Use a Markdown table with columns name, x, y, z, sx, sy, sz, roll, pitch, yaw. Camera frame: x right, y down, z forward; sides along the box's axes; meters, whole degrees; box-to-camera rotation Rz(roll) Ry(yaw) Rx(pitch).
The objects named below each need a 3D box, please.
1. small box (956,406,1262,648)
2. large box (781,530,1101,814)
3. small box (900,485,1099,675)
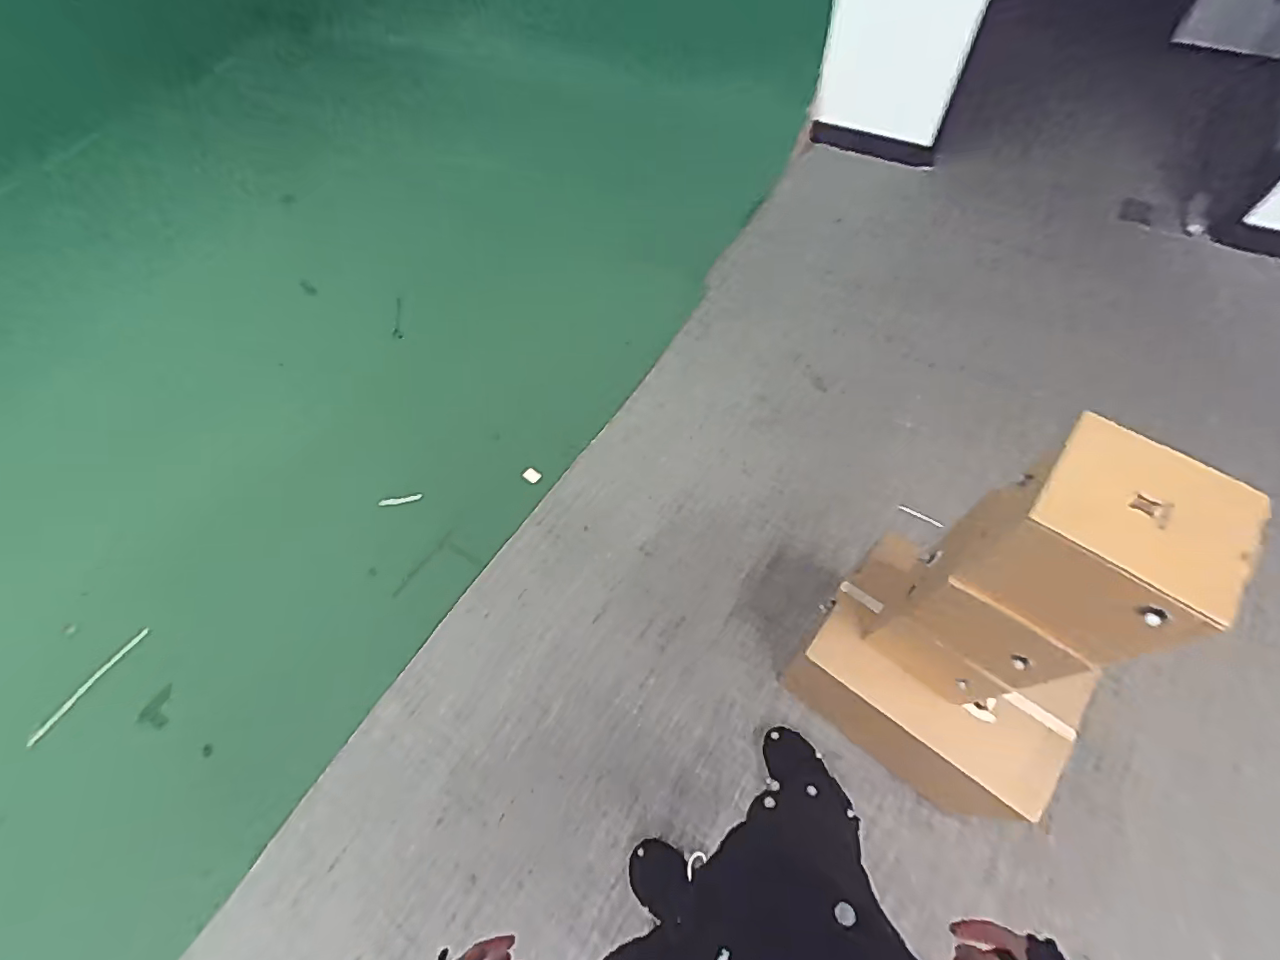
| name | x | y | z | sx | sy | sz | roll | pitch | yaw |
| --- | --- | --- | --- | --- | --- | --- | --- | --- | --- |
| small box | 0.490 | 0.058 | 0.594 | 0.179 | 0.176 | 0.168 | 34 | 68 | 20 |
| large box | 0.549 | 0.372 | 1.066 | 0.408 | 0.320 | 0.320 | 34 | 70 | 20 |
| small box | 0.492 | 0.143 | 0.732 | 0.179 | 0.176 | 0.168 | 31 | 66 | 20 |
